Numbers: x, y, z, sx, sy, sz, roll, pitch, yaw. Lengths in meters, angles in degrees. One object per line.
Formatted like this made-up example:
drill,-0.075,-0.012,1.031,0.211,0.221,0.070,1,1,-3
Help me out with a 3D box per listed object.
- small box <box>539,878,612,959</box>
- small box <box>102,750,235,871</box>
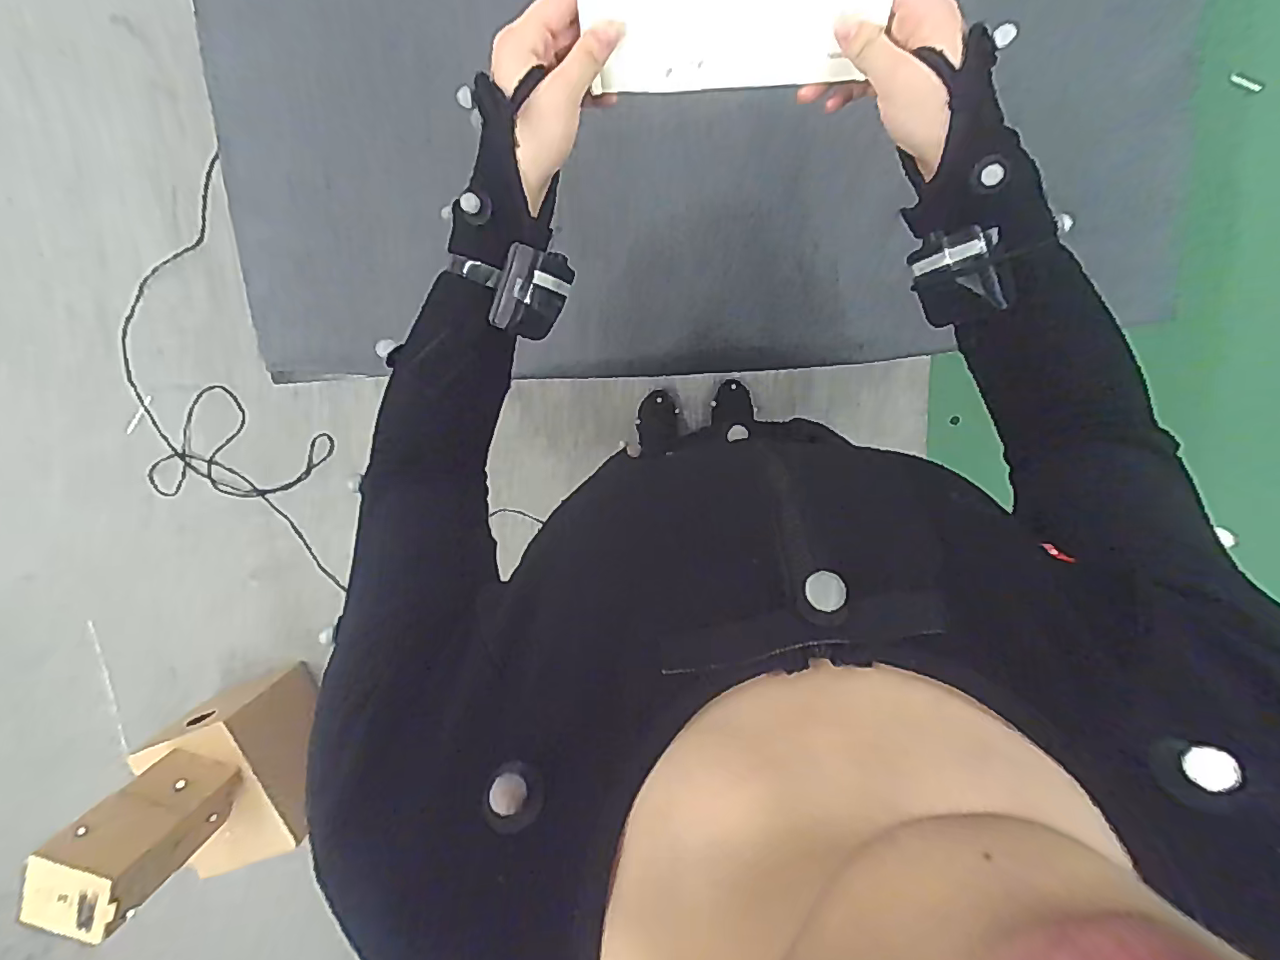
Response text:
small box,-0.173,1.227,1.460,0.168,0.176,0.179,8,100,5
small box,-1.138,0.796,1.318,0.179,0.176,0.168,18,100,-2
